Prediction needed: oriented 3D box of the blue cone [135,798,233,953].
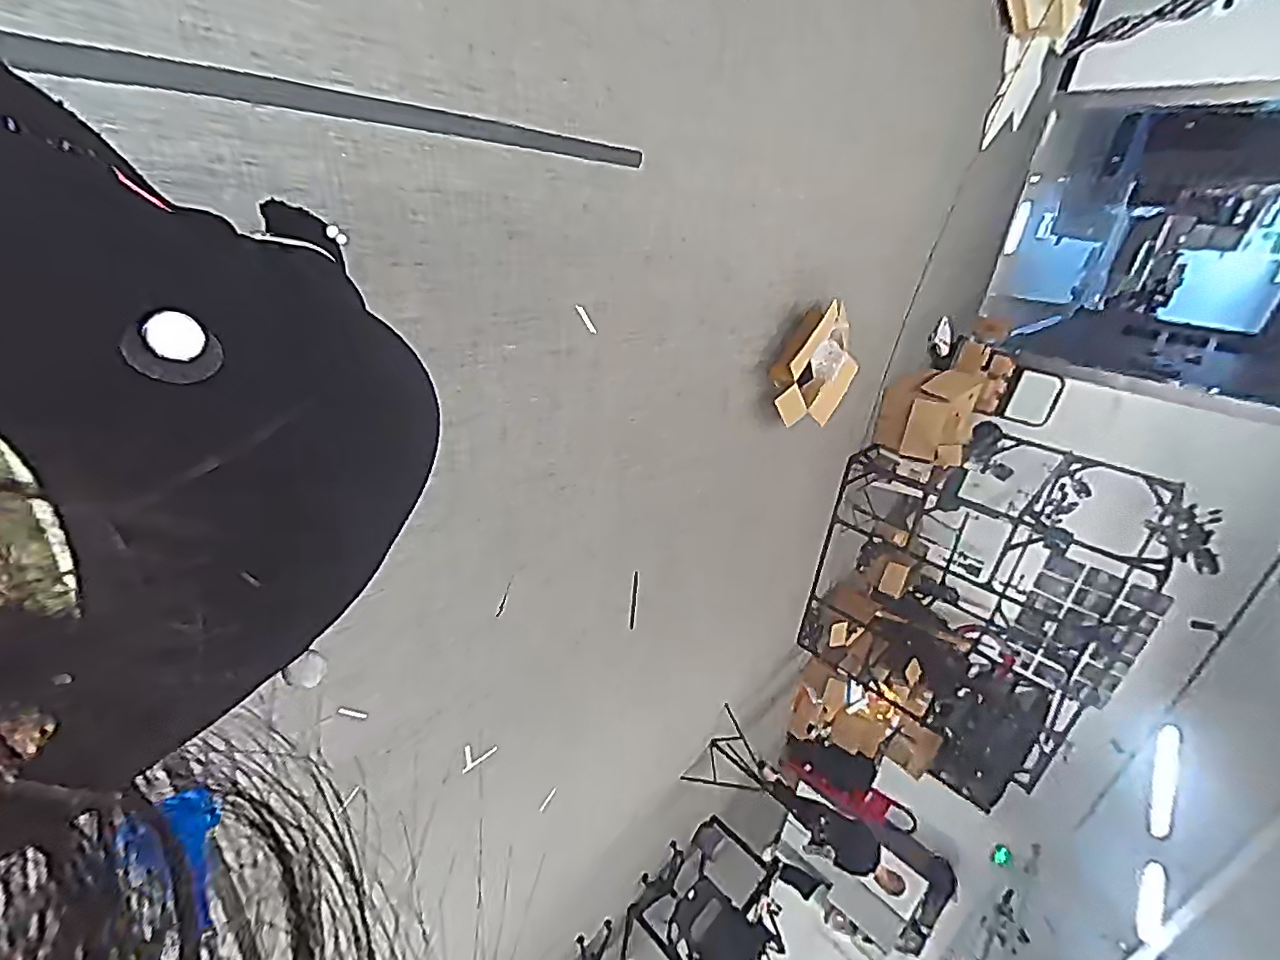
[{"bbox_3d":[-1.169,1.075,1.434,0.193,0.380,0.192,-21,127,-41],"label":"blue cone"}]
